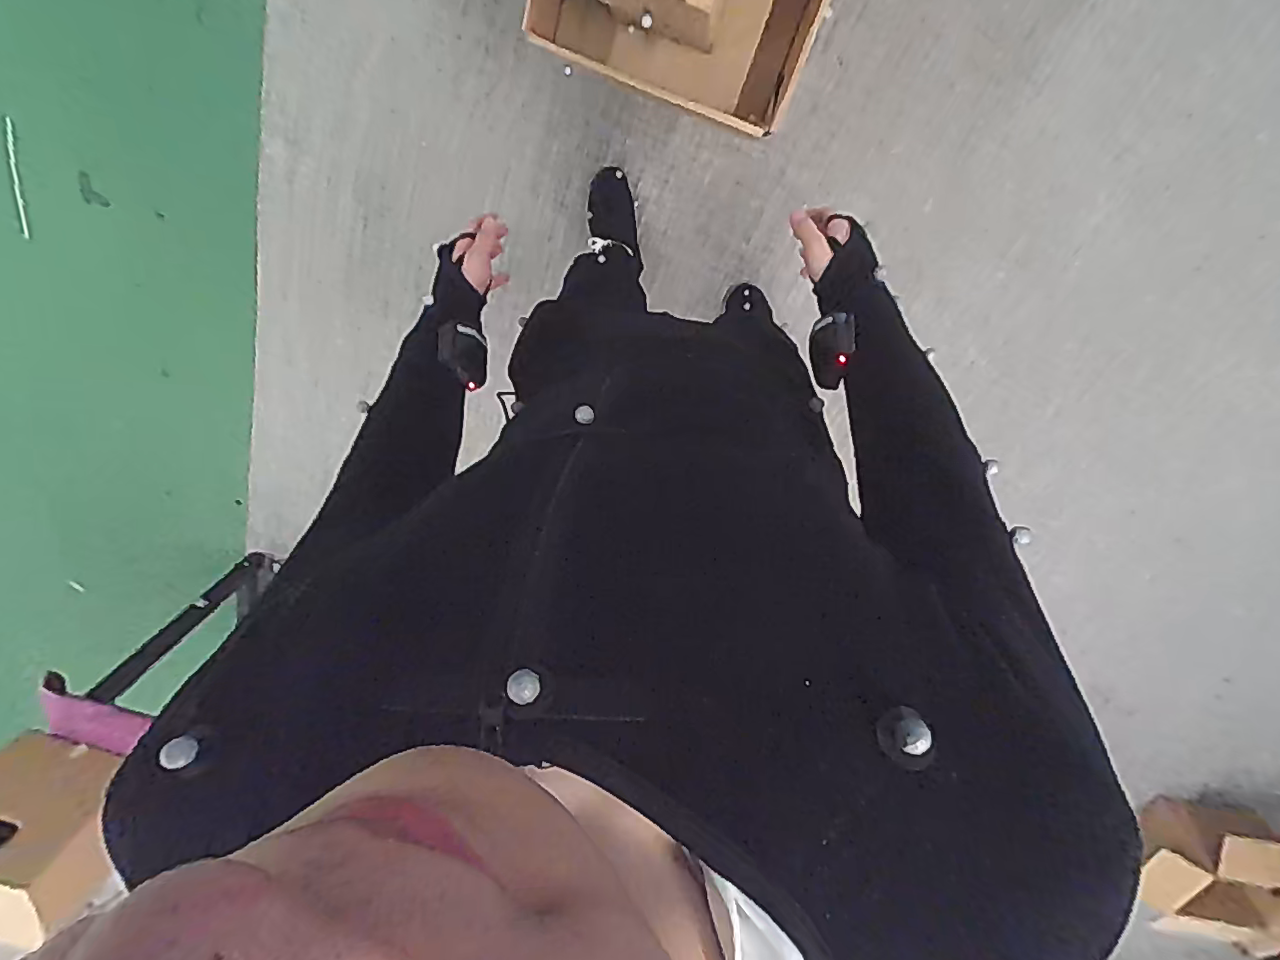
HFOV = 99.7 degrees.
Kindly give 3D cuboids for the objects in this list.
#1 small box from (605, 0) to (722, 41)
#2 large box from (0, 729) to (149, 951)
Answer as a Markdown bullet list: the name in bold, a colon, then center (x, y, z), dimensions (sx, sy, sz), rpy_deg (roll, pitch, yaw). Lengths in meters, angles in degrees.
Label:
- **small box**: center (0.038, -0.649, 0.615), dimensions (0.168, 0.176, 0.179), rpy_deg (20, 119, -5)
- **large box**: center (-1.590, 0.946, 1.428), dimensions (0.320, 0.320, 0.408), rpy_deg (22, 119, -8)
